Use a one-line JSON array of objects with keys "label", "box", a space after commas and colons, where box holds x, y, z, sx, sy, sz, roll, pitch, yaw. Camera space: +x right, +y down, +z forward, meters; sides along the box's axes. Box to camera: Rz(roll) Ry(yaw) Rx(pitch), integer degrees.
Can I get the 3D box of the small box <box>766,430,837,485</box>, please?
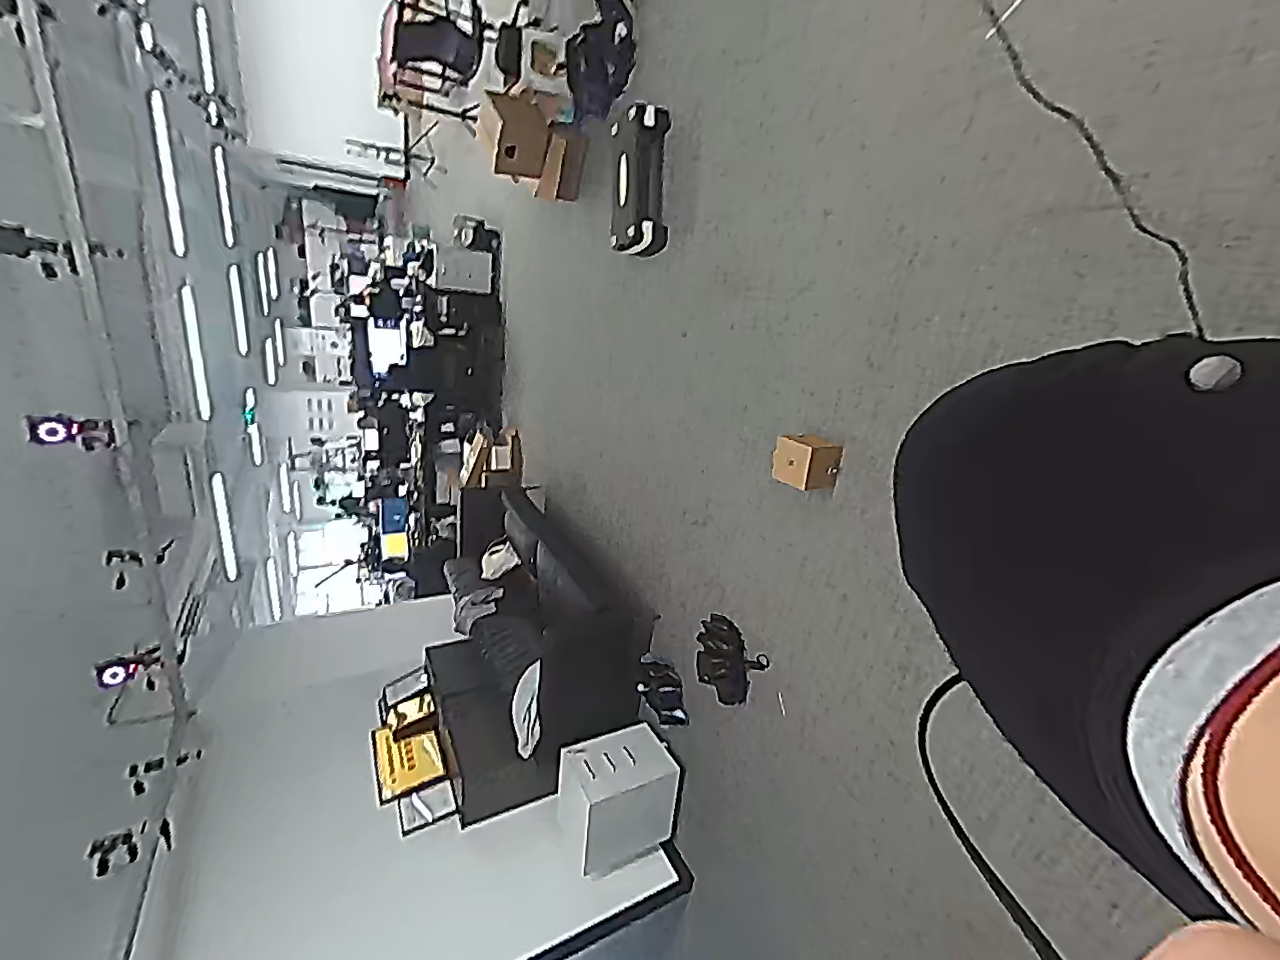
[{"label": "small box", "box": [0.602, -0.091, 2.026, 0.179, 0.176, 0.168, 30, 122, 53]}]
